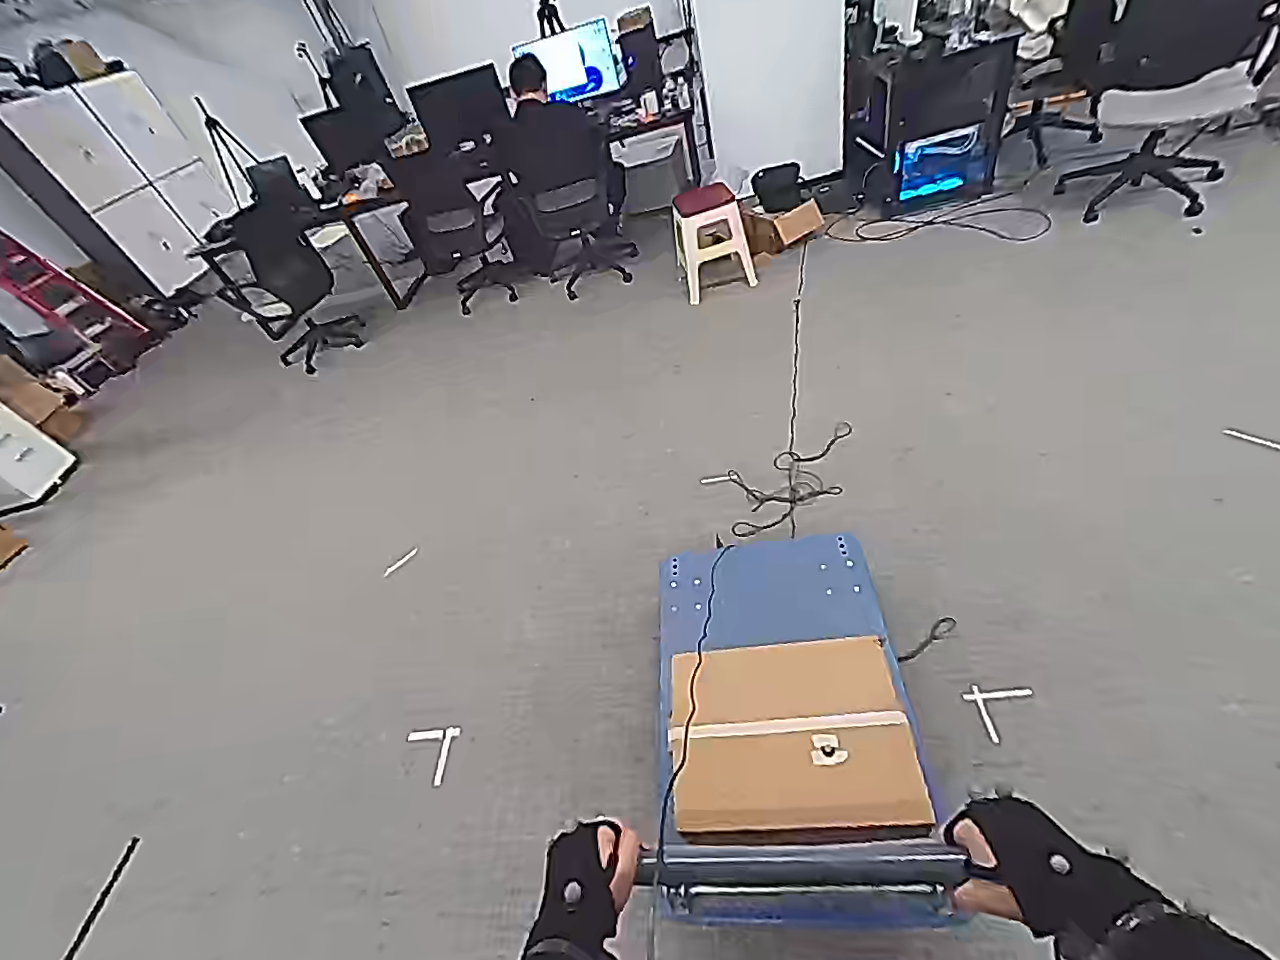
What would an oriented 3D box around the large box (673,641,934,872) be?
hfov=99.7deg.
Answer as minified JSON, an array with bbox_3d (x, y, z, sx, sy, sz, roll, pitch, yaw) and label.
[{"bbox_3d":[0.290,0.546,1.055,0.408,0.320,0.320,-9,45,11],"label":"large box"}]
